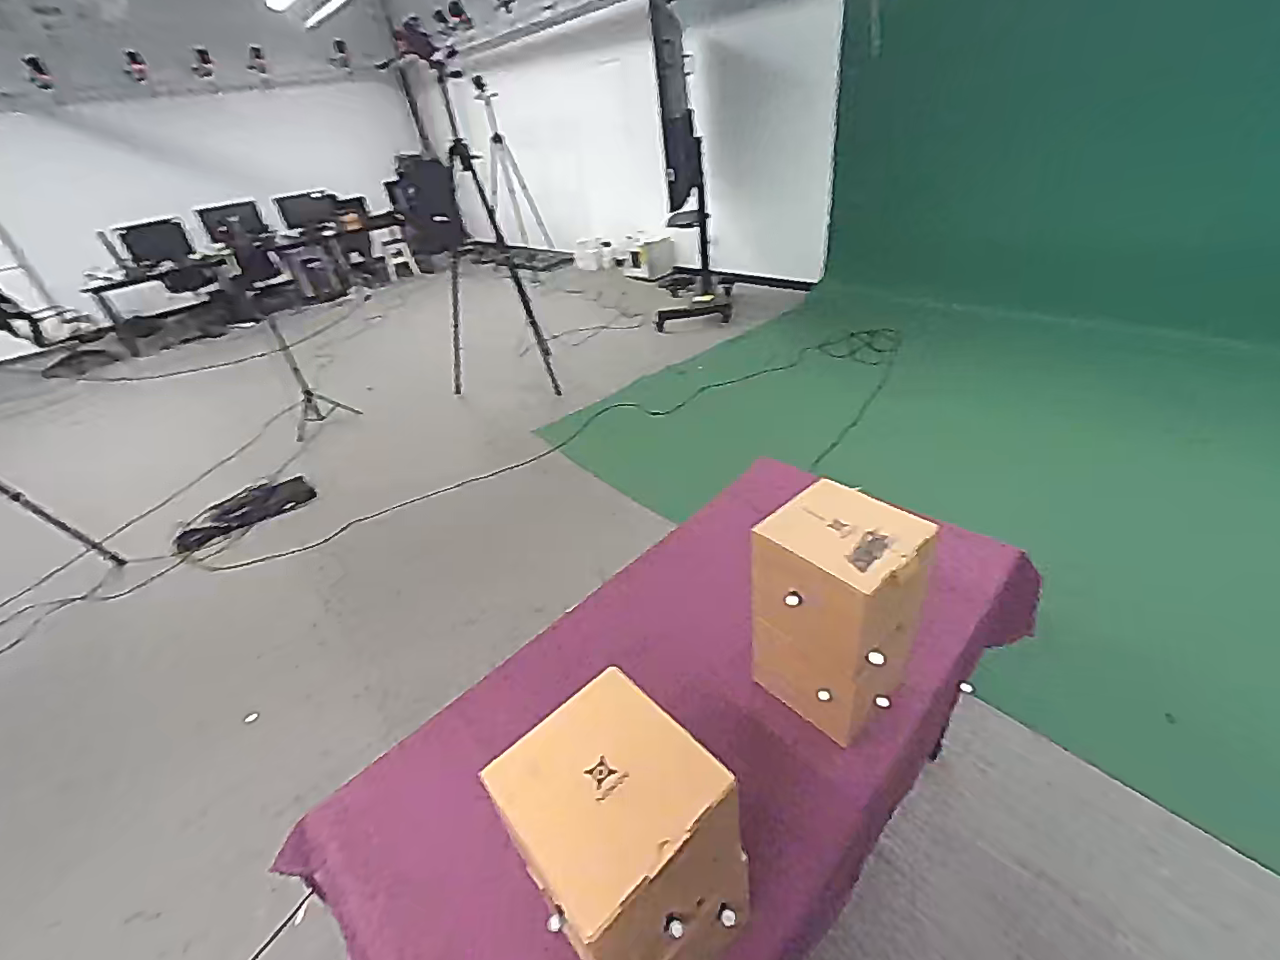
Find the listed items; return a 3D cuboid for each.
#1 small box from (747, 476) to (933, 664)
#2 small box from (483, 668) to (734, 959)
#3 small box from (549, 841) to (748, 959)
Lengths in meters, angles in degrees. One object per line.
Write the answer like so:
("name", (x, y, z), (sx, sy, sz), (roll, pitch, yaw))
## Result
("small box", (0.272, 0.126, 0.757), (0.168, 0.176, 0.179), (-31, 39, -27))
("small box", (-0.025, 0.334, 0.534), (0.168, 0.176, 0.179), (-32, 40, -30))
("small box", (0.006, 0.469, 0.620), (0.179, 0.176, 0.168), (-33, 39, -30))
